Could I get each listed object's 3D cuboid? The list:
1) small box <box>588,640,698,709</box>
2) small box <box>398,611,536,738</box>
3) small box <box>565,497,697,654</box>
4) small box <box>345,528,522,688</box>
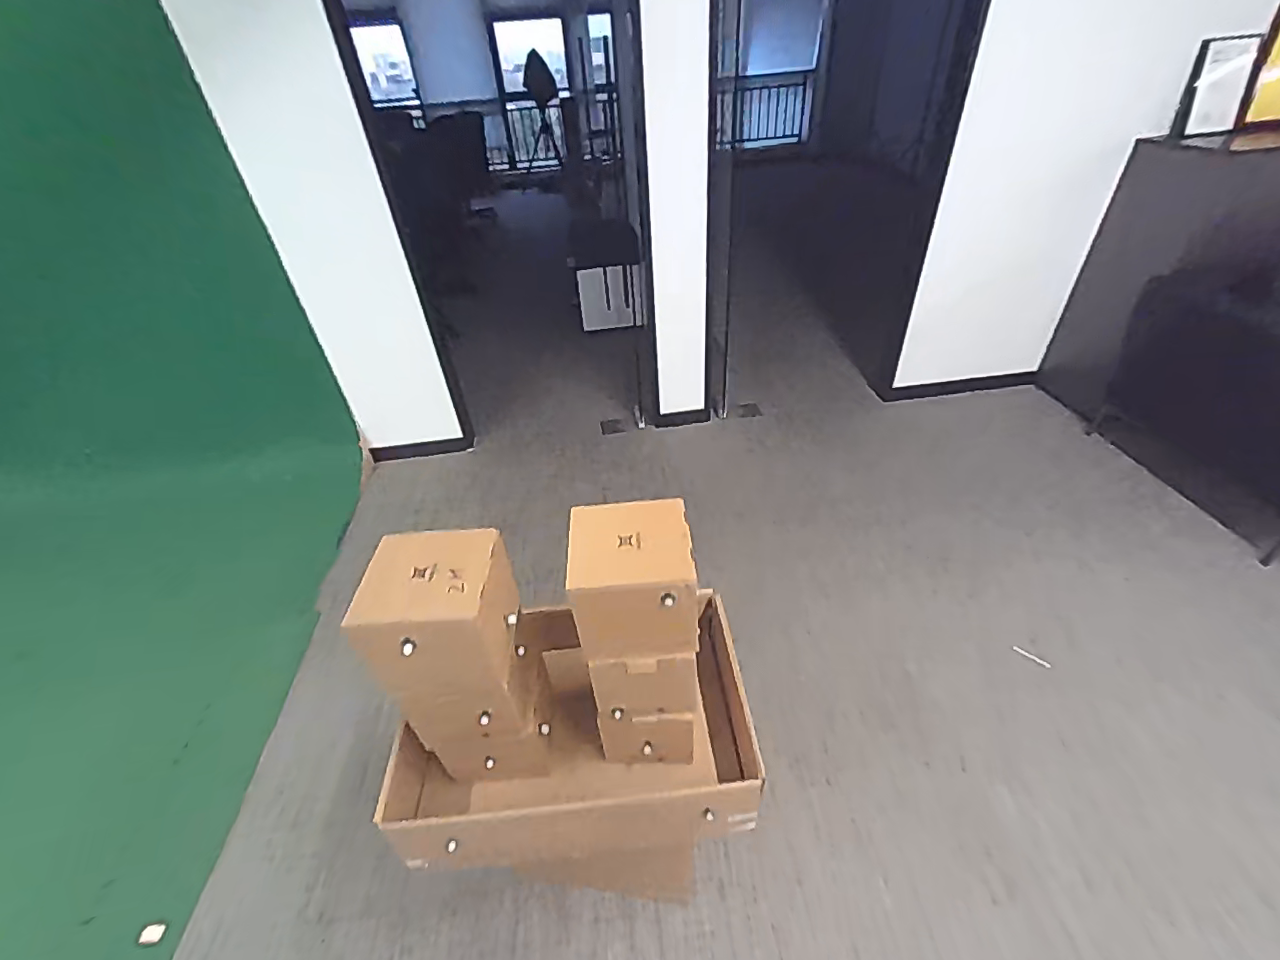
[{"bbox_3d":[0.008,0.274,0.923,0.168,0.176,0.179,-5,38,1],"label":"small box"},{"bbox_3d":[-0.275,0.314,0.909,0.168,0.176,0.179,-6,38,-1],"label":"small box"},{"bbox_3d":[-0.009,0.147,0.822,0.179,0.176,0.168,-5,39,0],"label":"small box"},{"bbox_3d":[-0.288,0.191,0.800,0.179,0.176,0.168,-4,40,2],"label":"small box"}]
